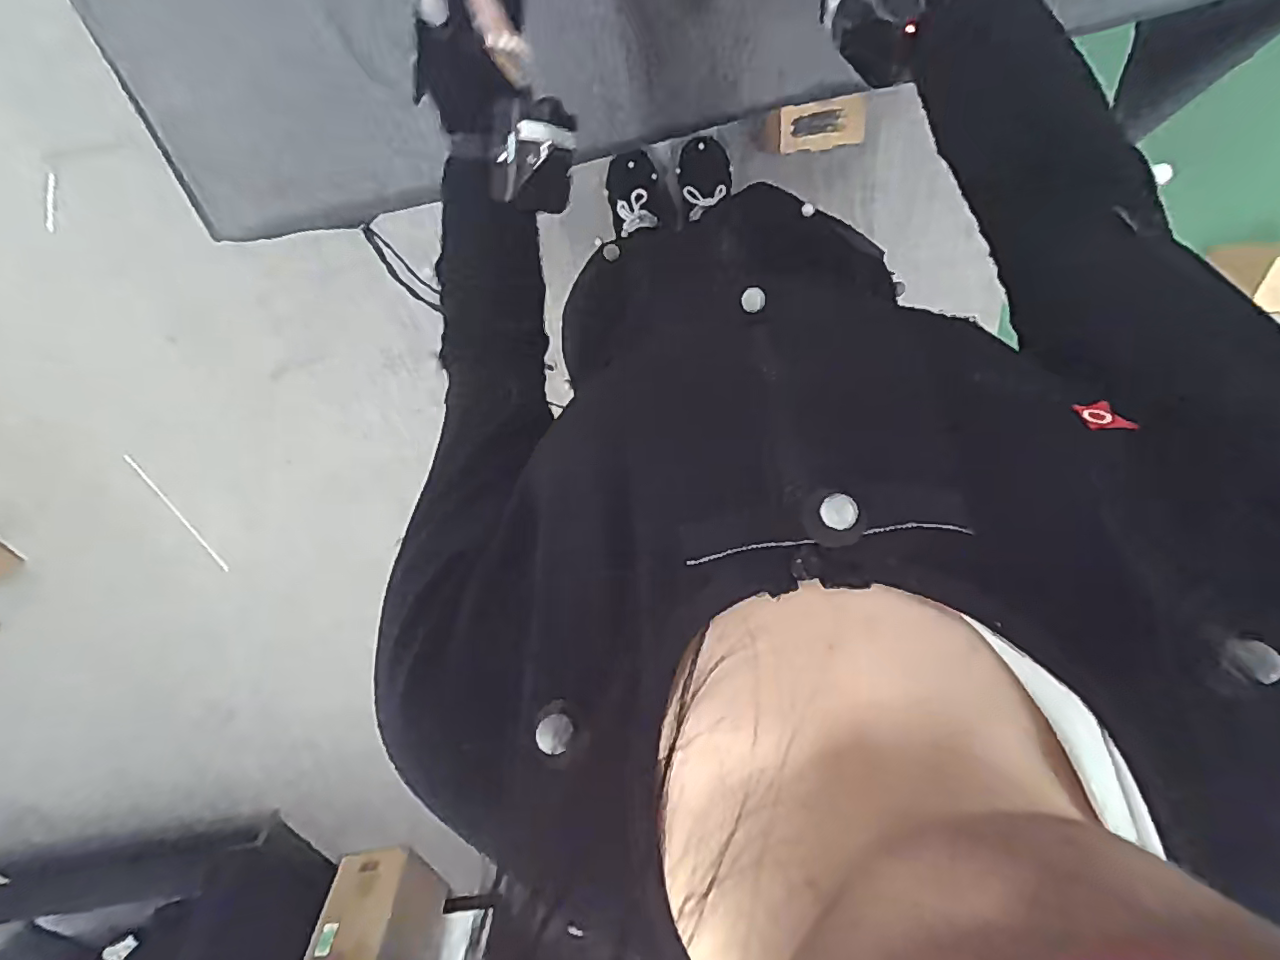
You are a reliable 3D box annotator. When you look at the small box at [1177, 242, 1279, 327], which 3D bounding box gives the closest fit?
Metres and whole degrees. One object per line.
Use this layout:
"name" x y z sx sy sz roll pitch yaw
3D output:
"small box" 1.494 -0.477 1.312 0.179 0.176 0.168 0 123 0
